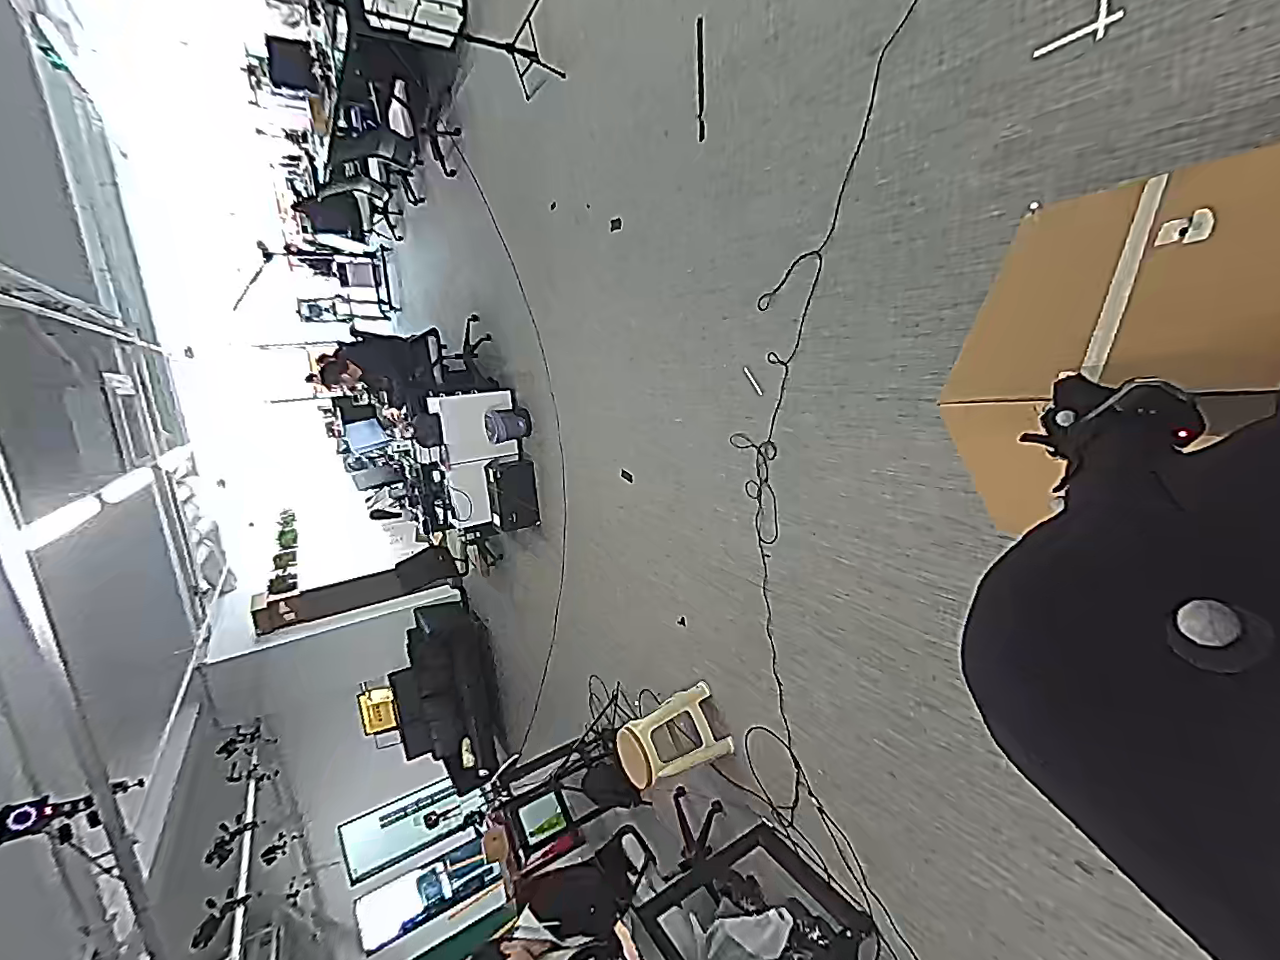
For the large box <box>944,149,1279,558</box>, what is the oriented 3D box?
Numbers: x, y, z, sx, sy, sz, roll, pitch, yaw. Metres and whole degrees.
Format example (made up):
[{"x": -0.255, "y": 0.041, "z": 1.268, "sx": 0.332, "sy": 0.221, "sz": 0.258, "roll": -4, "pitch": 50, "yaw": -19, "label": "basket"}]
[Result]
[{"x": 0.695, "y": -0.156, "z": 0.750, "sx": 0.320, "sy": 0.408, "sz": 0.320, "roll": 46, "pitch": 159, "yaw": -31, "label": "large box"}]
